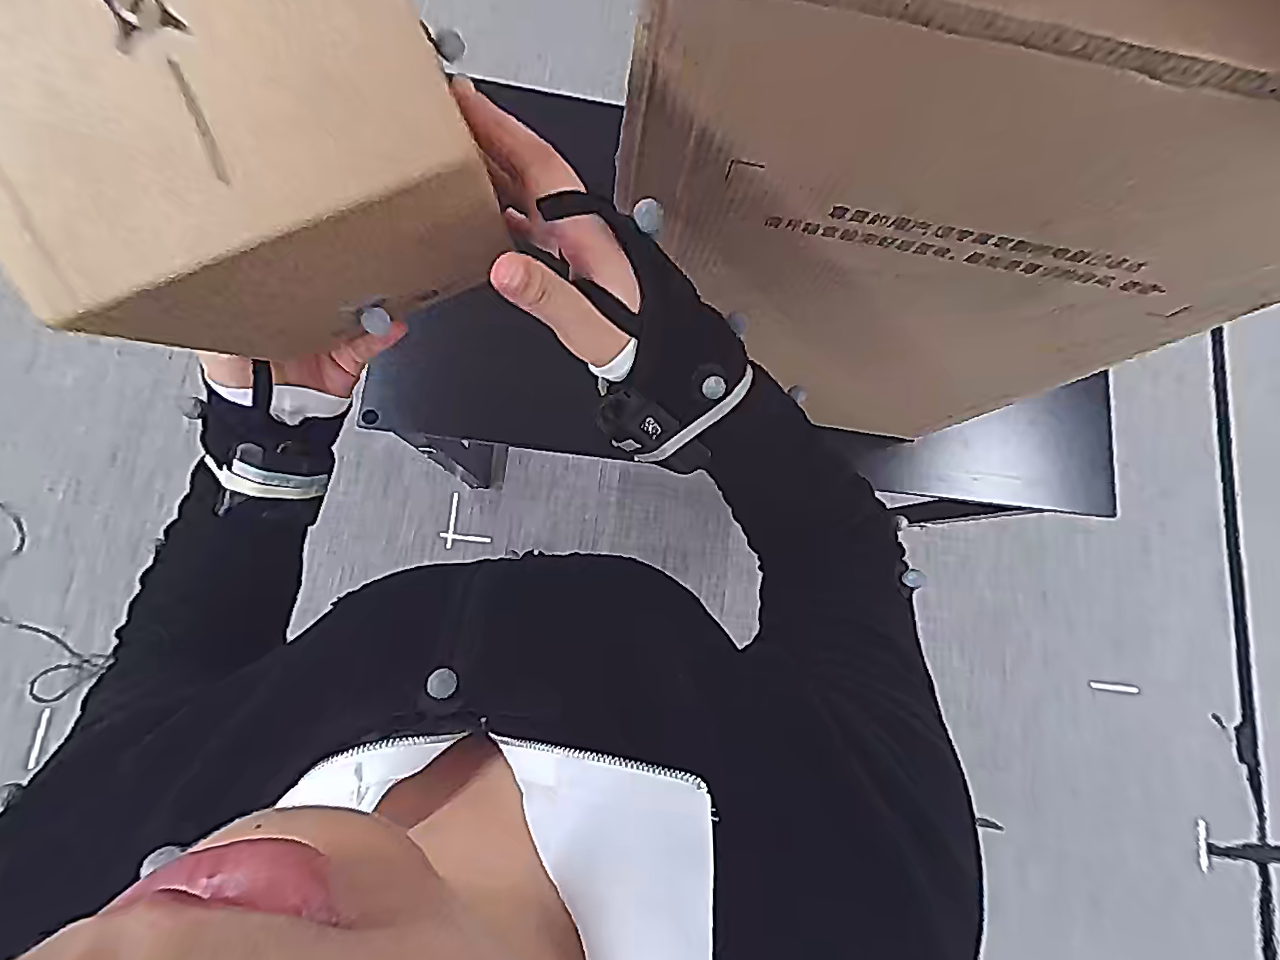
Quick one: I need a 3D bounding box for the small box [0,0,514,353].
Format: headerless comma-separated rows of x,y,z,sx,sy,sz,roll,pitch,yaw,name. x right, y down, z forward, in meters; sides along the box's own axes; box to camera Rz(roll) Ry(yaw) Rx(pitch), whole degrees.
-0.176,-0.176,0.254,0.168,0.176,0.179,-23,99,-2,small box
